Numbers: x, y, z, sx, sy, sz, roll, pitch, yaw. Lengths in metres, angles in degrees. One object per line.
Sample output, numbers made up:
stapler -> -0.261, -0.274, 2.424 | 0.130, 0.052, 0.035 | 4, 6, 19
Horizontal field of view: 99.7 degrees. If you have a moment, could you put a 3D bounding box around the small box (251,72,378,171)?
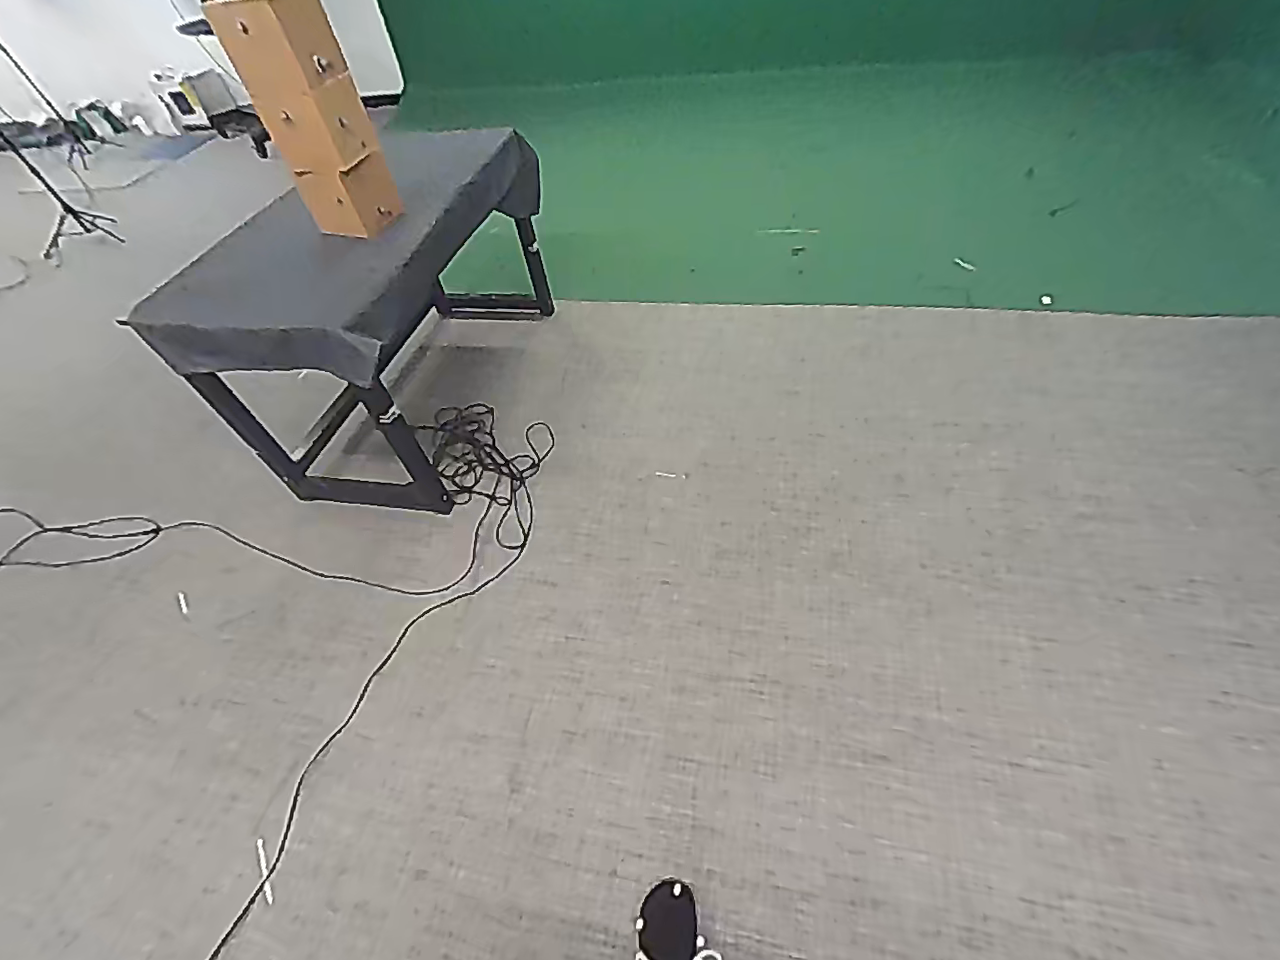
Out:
small box -> -0.796, -0.889, 1.346 | 0.179, 0.176, 0.168 | 7, 52, 13

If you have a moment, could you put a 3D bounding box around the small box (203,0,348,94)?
small box -> -0.813, -0.998, 1.227 | 0.179, 0.176, 0.168 | 6, 53, 11
